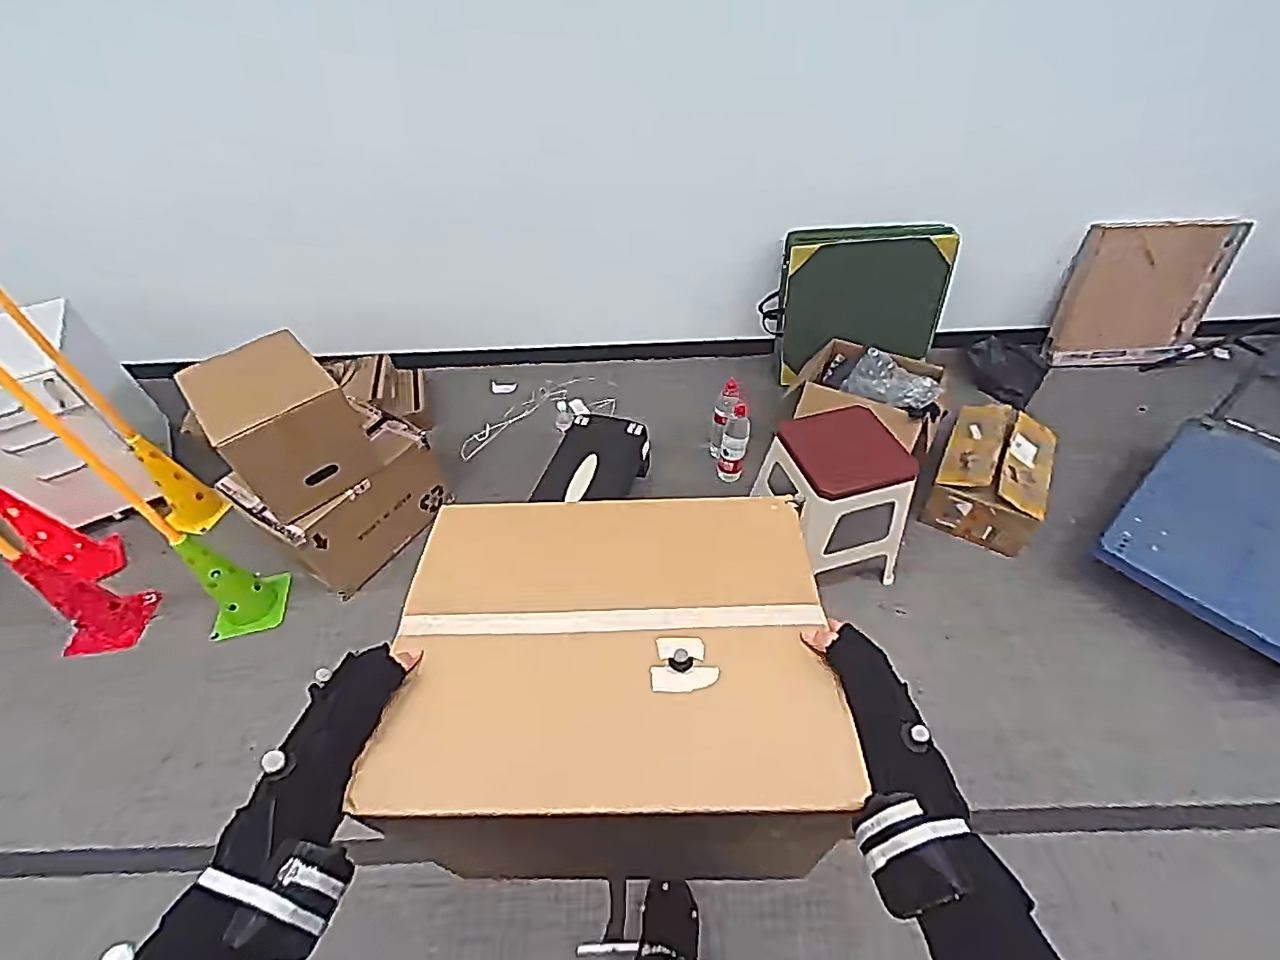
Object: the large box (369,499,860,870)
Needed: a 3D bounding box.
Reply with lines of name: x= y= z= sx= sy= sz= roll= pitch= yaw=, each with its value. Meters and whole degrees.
large box: x=-0.018 y=0.242 z=0.638 sx=0.408 sy=0.320 sz=0.320 roll=-1 pitch=46 yaw=2
